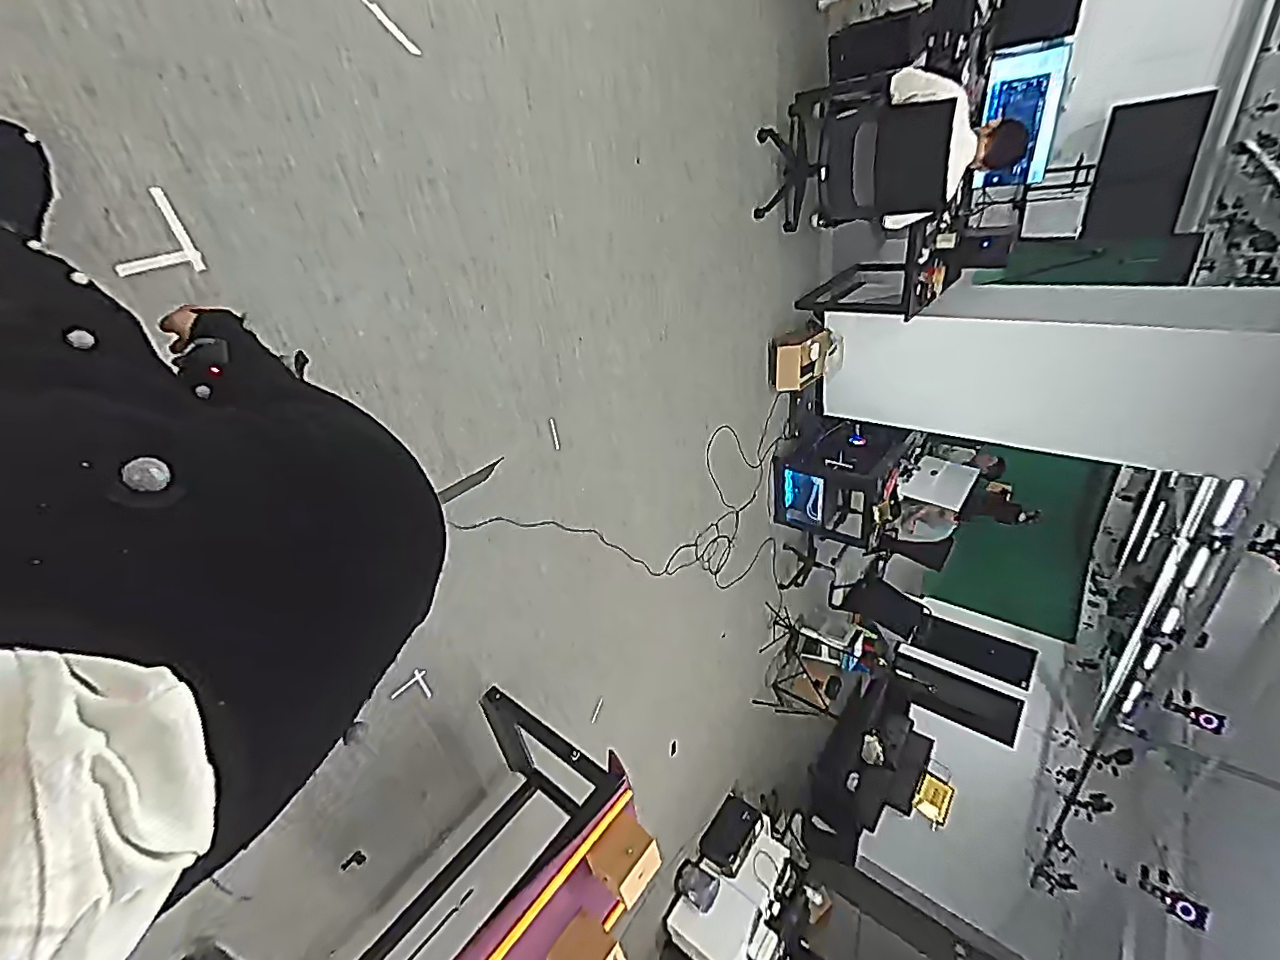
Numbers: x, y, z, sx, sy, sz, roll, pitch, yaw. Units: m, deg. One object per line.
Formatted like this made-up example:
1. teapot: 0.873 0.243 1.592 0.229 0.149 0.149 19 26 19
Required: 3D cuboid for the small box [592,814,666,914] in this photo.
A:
1. small box: -0.040 1.263 1.786 0.179 0.176 0.168 -37 130 -36
